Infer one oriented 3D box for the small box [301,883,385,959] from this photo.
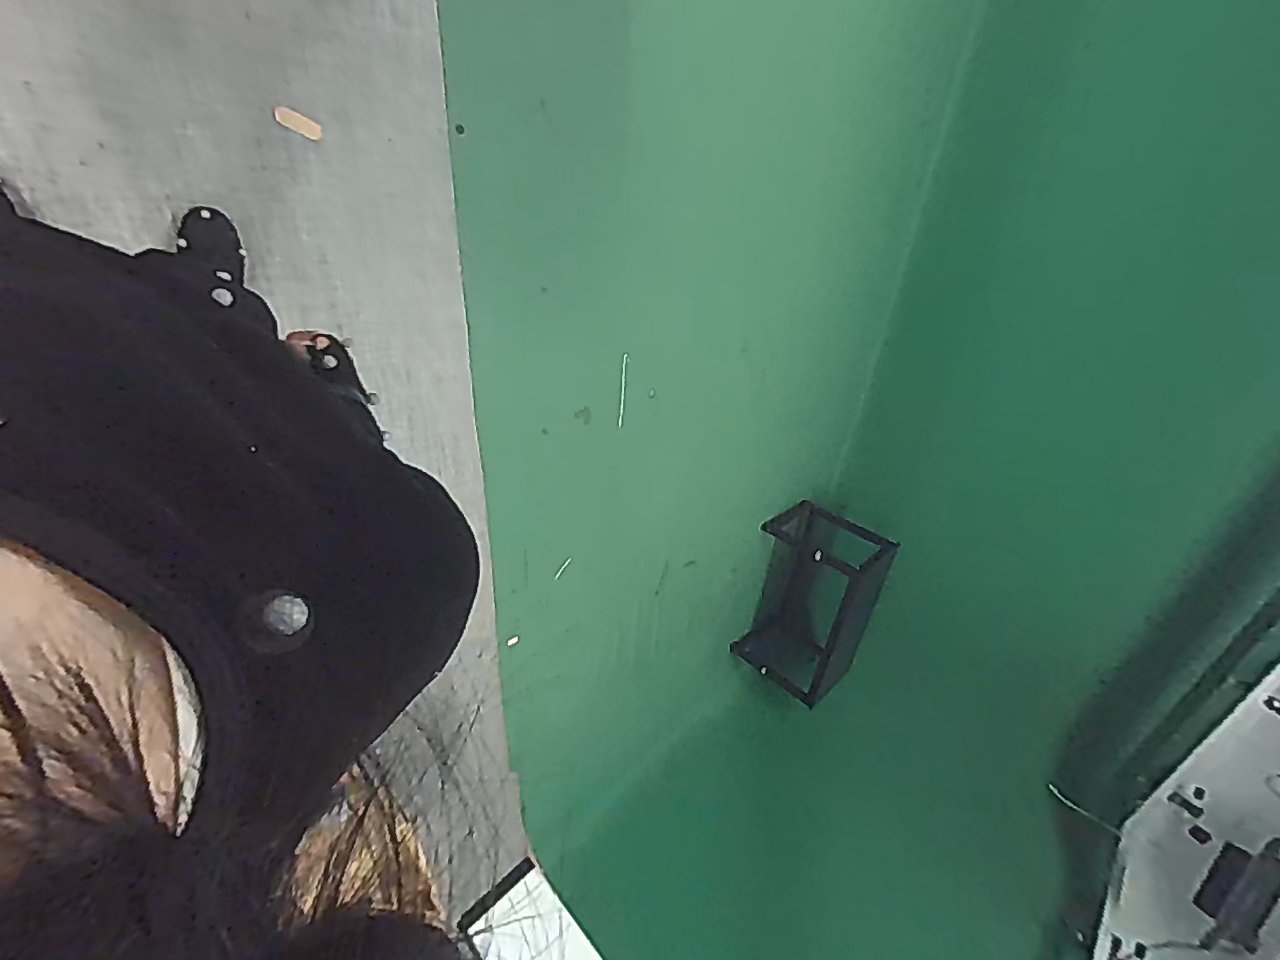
[{"bbox_3d":[-0.861,1.341,1.587,0.168,0.176,0.179,-29,130,-35],"label":"small box"}]
